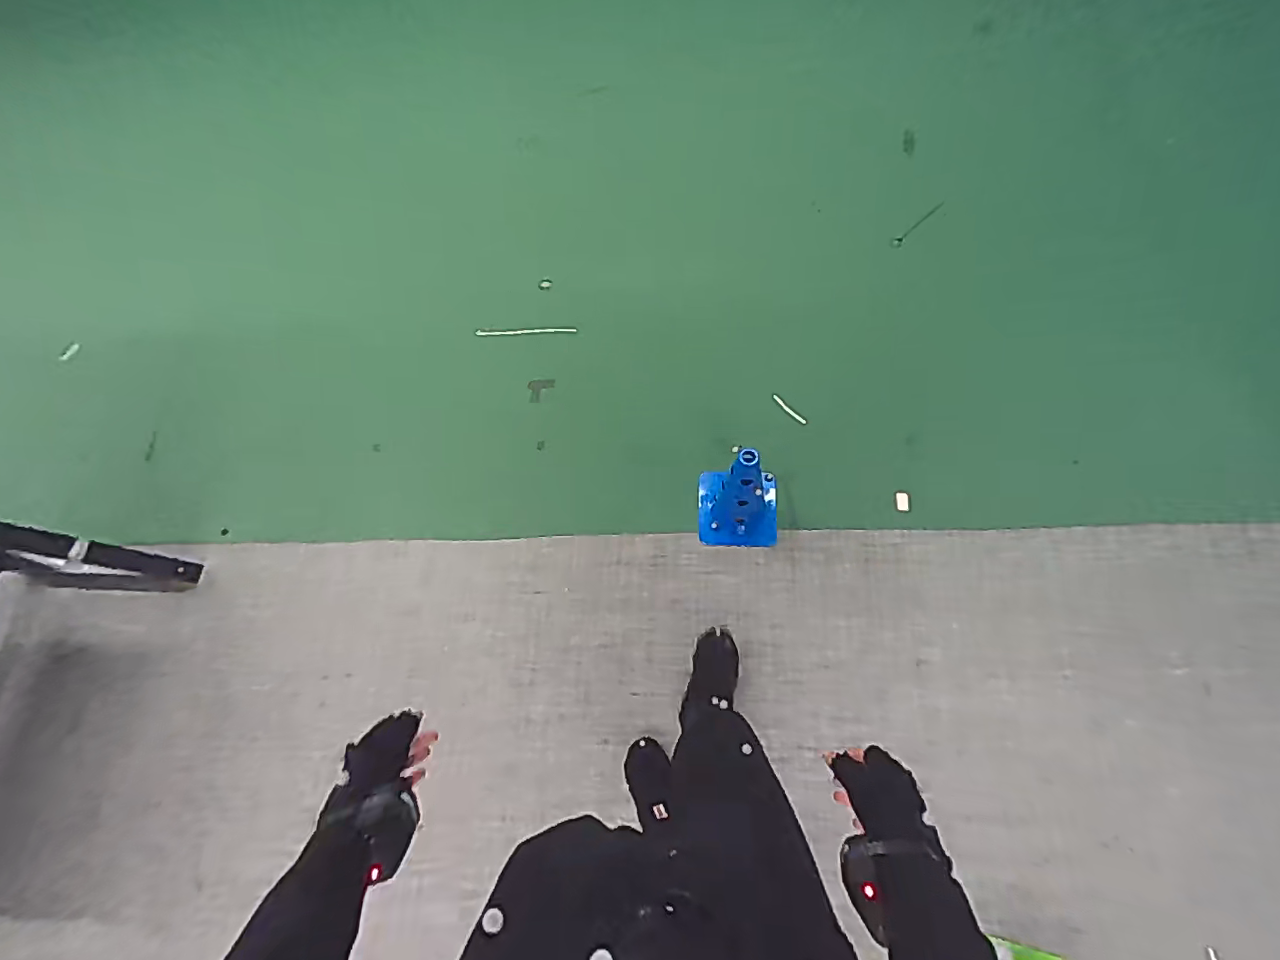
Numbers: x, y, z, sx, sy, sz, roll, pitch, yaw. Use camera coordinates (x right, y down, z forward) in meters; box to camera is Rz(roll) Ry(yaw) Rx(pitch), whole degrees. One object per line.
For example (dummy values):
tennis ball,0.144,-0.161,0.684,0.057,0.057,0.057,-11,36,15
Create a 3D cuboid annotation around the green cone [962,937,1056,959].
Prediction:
green cone,0.684,0.933,0.847,0.200,0.368,0.202,10,71,11
